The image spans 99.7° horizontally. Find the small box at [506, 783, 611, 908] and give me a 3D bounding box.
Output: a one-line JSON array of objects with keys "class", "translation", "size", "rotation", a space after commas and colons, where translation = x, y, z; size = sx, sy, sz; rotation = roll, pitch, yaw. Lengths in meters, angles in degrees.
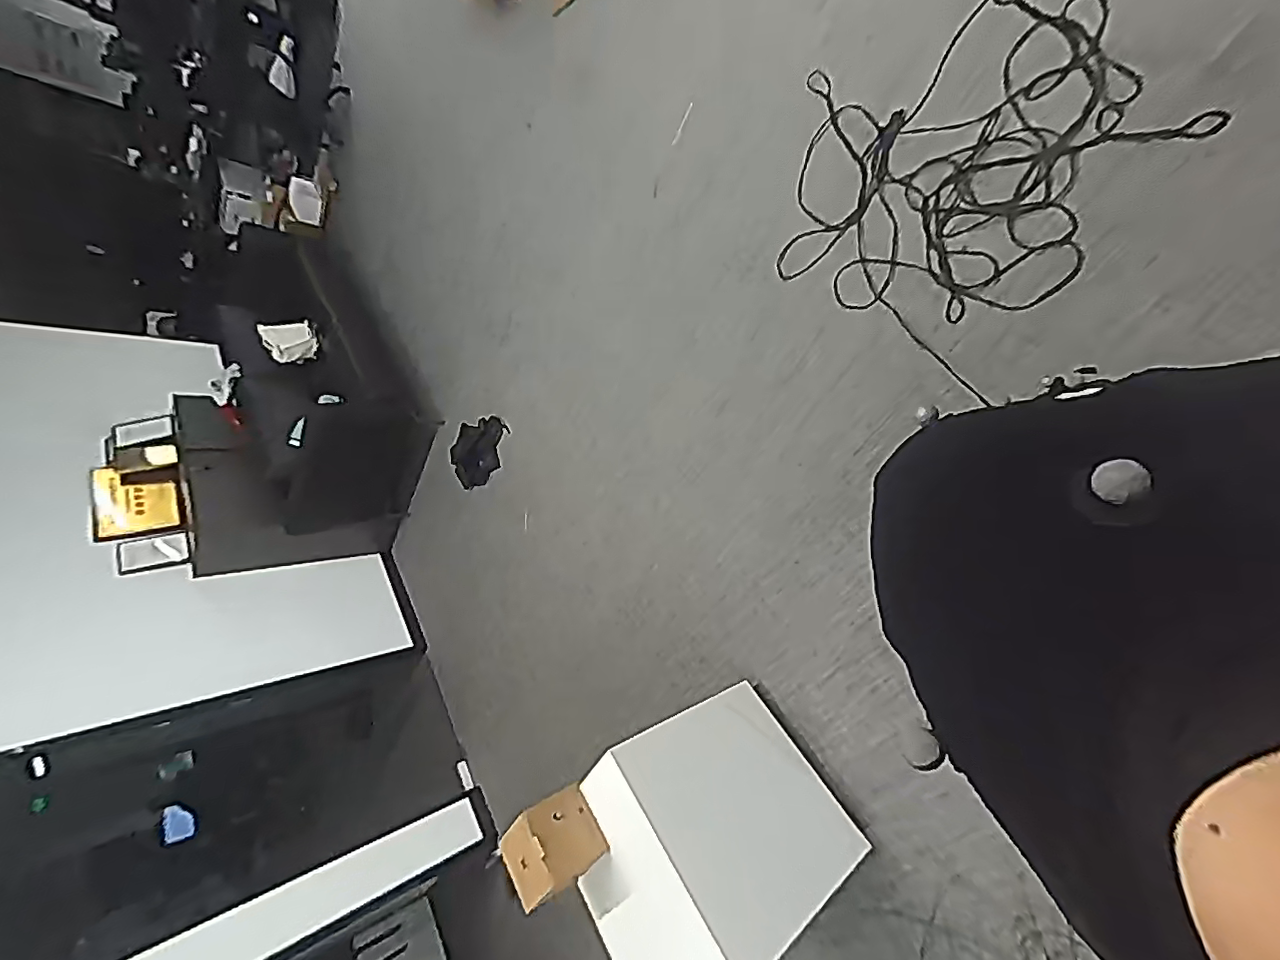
[{"class": "small box", "translation": [-0.194, 0.876, 1.310], "size": [0.168, 0.176, 0.179], "rotation": [51, 127, 32]}]
